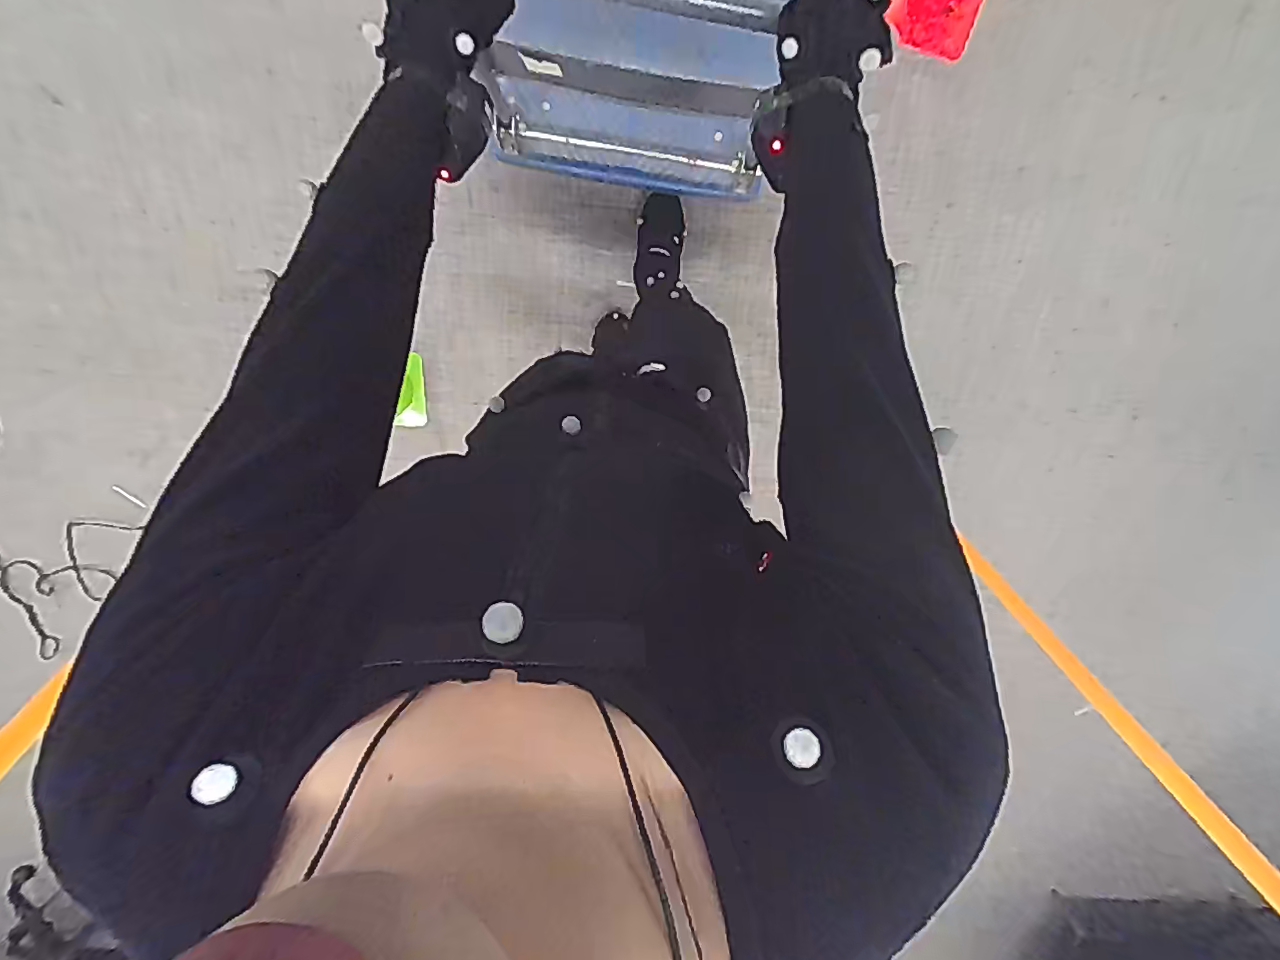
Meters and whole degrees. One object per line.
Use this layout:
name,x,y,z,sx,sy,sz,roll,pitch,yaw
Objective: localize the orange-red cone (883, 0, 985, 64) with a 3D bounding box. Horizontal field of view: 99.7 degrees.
orange-red cone,0.655,-0.986,1.019,0.198,0.360,0.199,14,110,-7
